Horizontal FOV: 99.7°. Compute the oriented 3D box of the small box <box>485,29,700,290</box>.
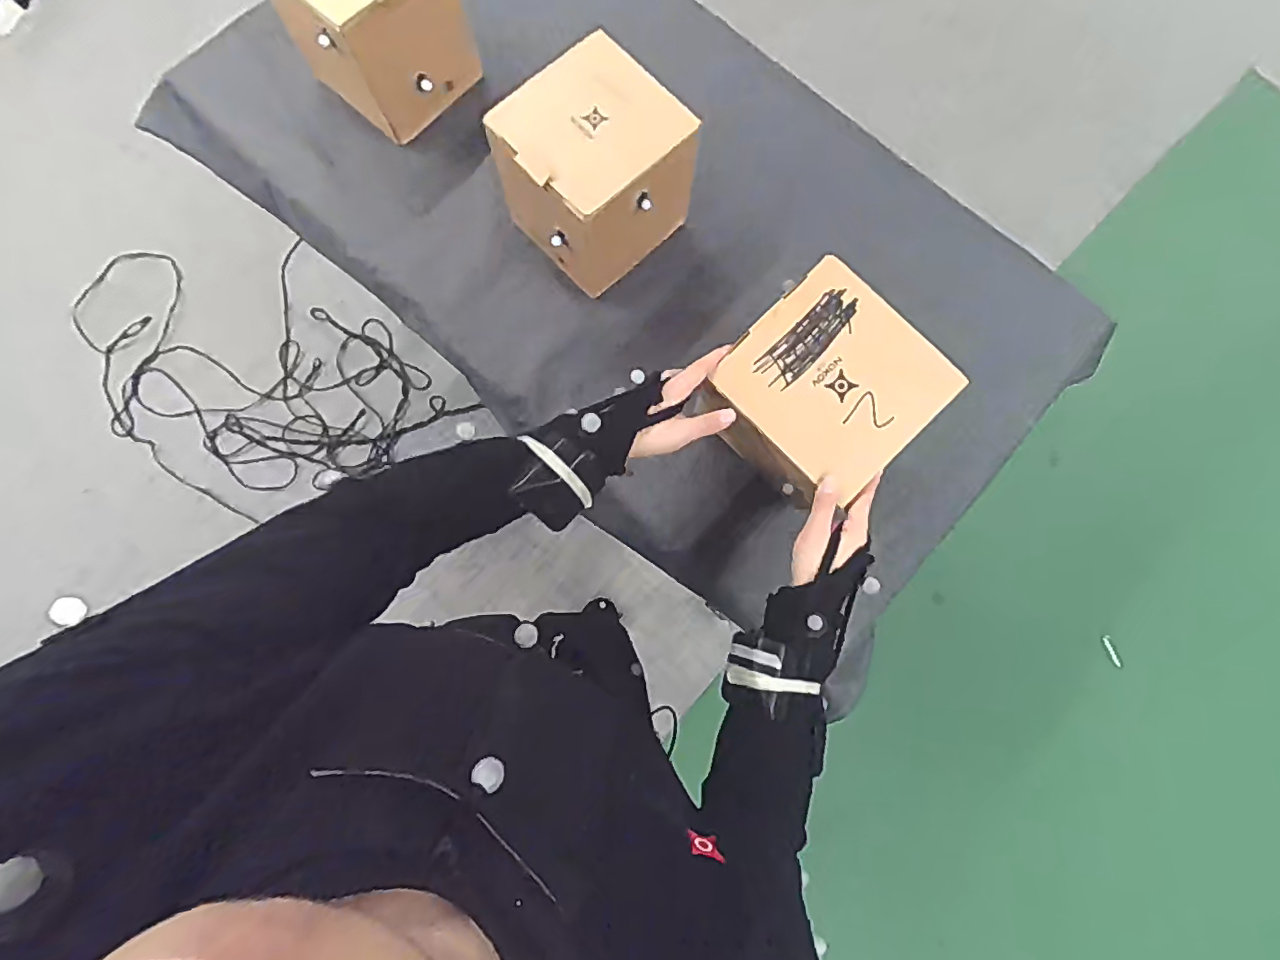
[{"bbox_3d":[-0.052,-0.370,0.655,0.179,0.176,0.168,-43,84,-9],"label":"small box"}]

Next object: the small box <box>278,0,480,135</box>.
[{"bbox_3d":[-0.339,-0.596,0.692,0.179,0.176,0.168,40,81,5],"label":"small box"}]
